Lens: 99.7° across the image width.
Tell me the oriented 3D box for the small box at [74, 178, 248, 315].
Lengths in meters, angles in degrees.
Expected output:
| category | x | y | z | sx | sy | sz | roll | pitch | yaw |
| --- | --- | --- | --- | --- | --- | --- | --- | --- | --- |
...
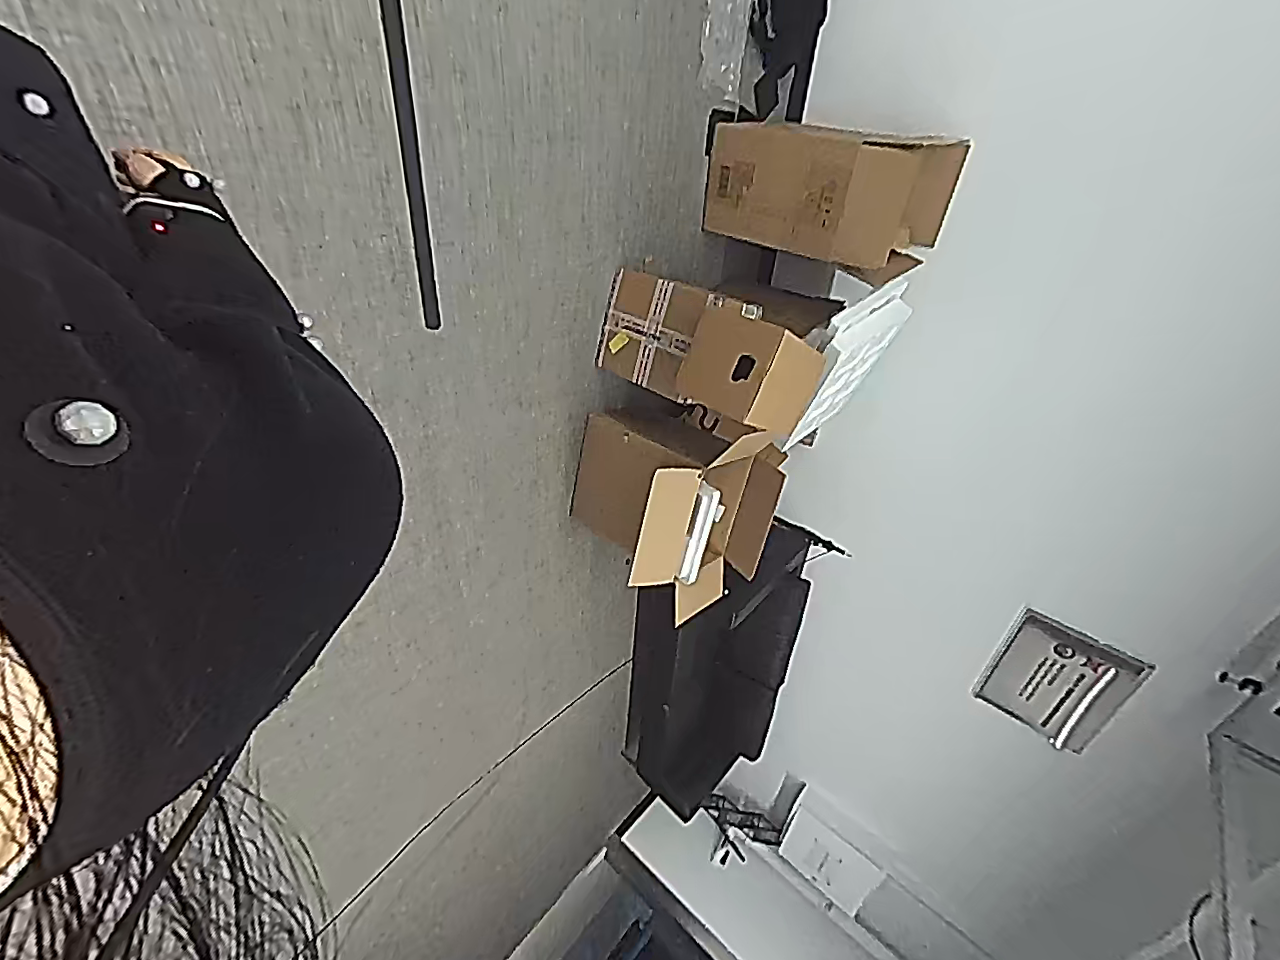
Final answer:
| category | x | y | z | sx | sy | sz | roll | pitch | yaw |
| --- | --- | --- | --- | --- | --- | --- | --- | --- | --- |
| small box | -0.923 | -0.454 | 1.042 | 0.168 | 0.176 | 0.179 | -54 | 149 | -11 |
